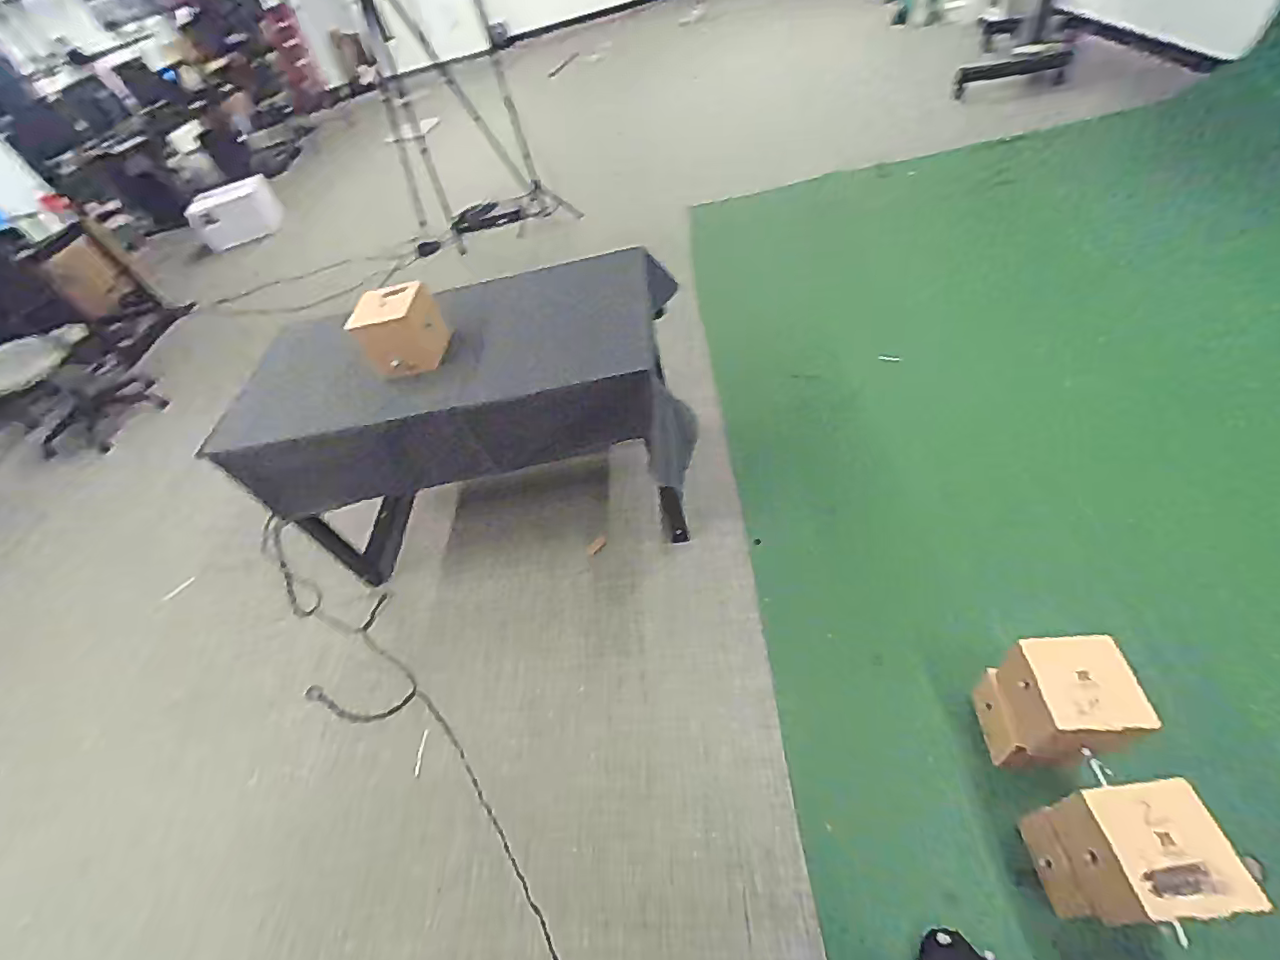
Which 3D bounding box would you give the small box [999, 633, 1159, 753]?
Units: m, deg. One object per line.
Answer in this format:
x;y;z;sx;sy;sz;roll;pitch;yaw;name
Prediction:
0.847;0.421;1.070;0.168;0.176;0.179;-6;48;11;small box

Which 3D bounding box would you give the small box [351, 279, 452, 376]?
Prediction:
-0.623;-0.405;1.442;0.168;0.176;0.179;-9;49;9;small box

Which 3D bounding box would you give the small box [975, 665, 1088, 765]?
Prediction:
0.871;0.522;1.199;0.179;0.176;0.168;-5;49;11;small box
